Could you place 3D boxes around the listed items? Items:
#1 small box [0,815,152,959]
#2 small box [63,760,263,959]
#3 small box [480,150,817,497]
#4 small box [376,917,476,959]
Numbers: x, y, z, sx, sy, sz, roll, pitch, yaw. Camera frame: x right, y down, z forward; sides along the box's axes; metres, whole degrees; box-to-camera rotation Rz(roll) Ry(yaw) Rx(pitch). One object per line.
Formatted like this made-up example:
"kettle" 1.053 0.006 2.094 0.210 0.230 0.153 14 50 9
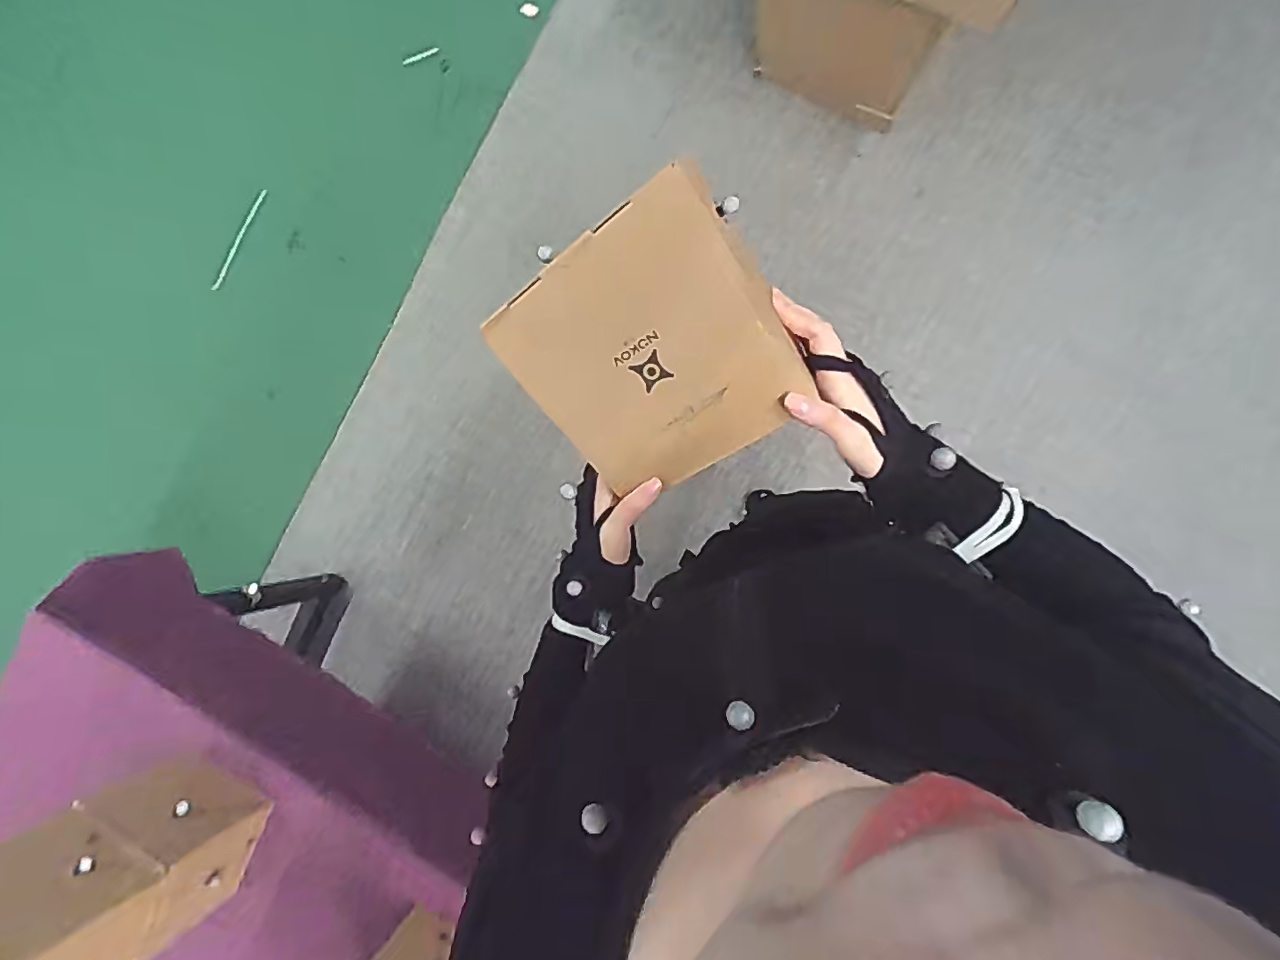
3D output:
"small box" -0.737 0.548 0.631 0.168 0.176 0.179 25 91 11
"small box" -0.709 0.550 0.792 0.179 0.176 0.168 24 91 10
"small box" 0.016 -0.125 0.427 0.168 0.176 0.179 -29 113 25
"small box" -0.314 0.744 0.711 0.168 0.176 0.179 25 91 11
